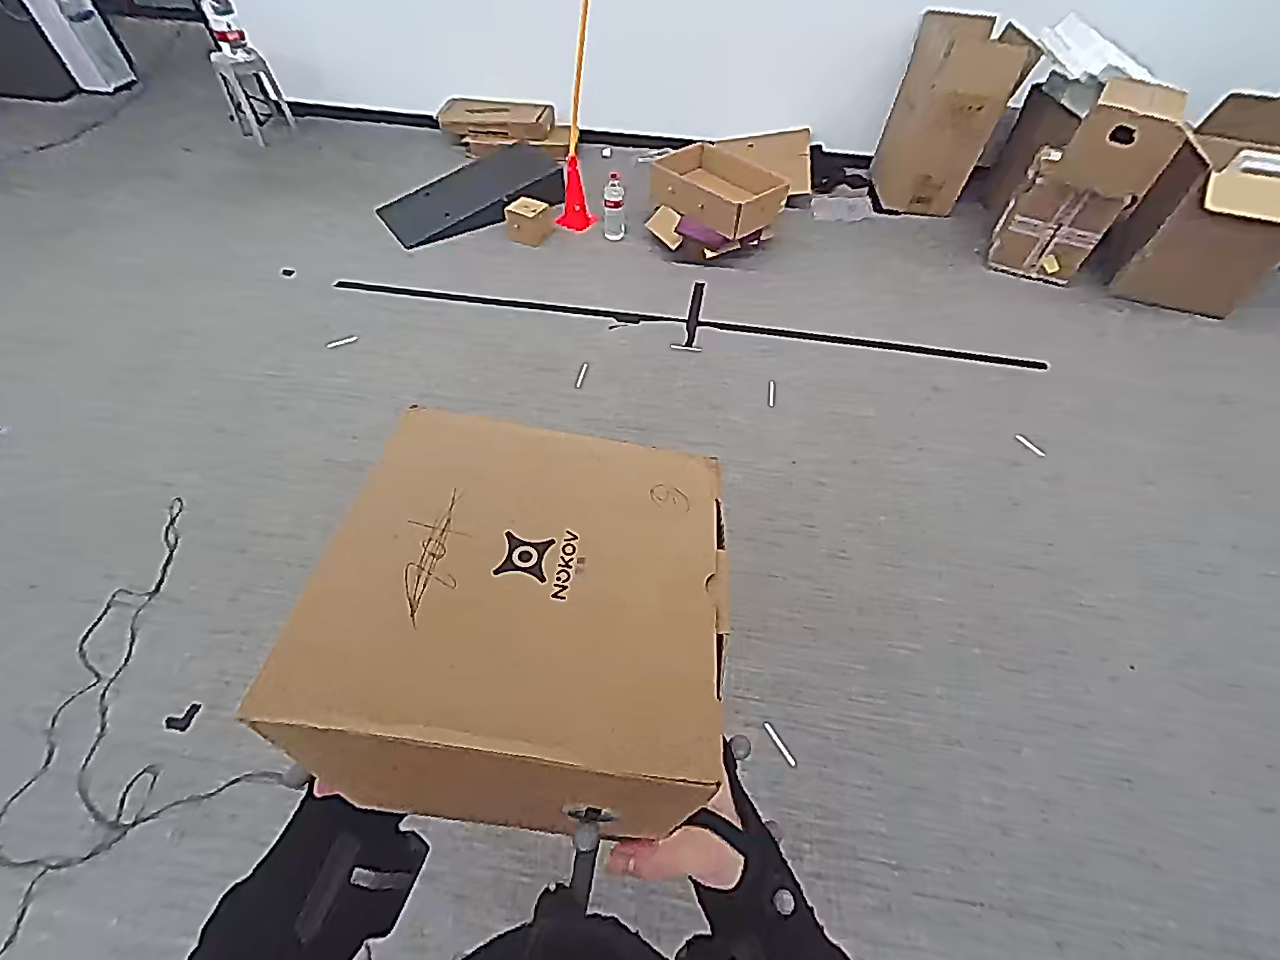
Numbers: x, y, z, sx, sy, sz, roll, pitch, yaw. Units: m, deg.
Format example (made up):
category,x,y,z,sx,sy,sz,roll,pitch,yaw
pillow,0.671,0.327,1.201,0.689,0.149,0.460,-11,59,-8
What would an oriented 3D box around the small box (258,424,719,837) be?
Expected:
category,x,y,z,sx,sy,sz,roll,pitch,yaw
small box,-0.060,0.095,0.315,0.179,0.176,0.168,8,49,-3
